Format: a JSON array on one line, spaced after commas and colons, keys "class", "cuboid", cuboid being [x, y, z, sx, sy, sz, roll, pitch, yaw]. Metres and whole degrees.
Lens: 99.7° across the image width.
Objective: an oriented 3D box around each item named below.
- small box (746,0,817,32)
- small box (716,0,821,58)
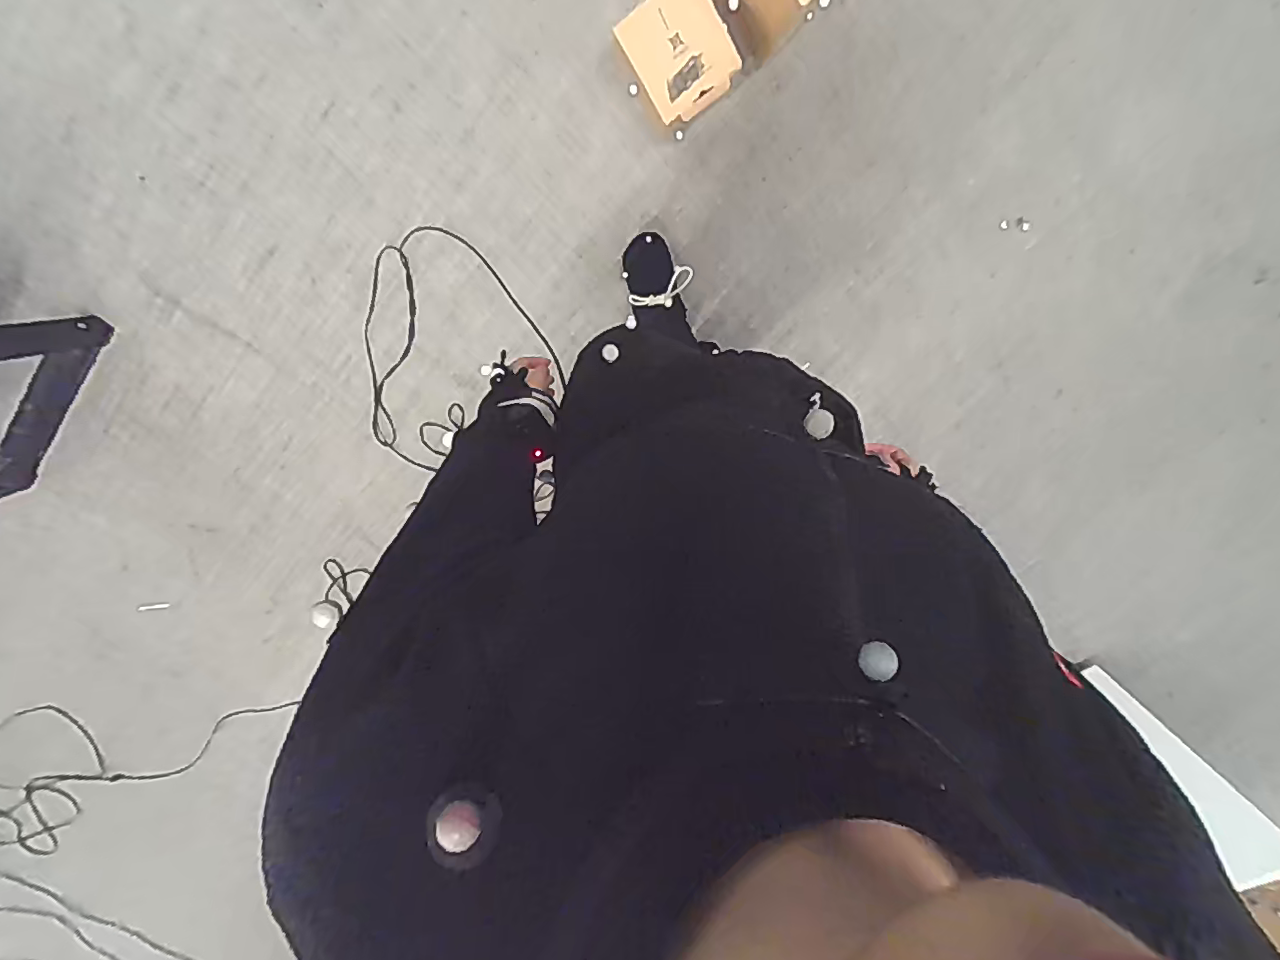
[{"class": "small box", "cuboid": [0.236, -0.832, 0.817, 0.168, 0.176, 0.179, -40, 106, 16]}, {"class": "small box", "cuboid": [0.238, -0.911, 0.961, 0.168, 0.176, 0.179, -41, 105, 15]}]
